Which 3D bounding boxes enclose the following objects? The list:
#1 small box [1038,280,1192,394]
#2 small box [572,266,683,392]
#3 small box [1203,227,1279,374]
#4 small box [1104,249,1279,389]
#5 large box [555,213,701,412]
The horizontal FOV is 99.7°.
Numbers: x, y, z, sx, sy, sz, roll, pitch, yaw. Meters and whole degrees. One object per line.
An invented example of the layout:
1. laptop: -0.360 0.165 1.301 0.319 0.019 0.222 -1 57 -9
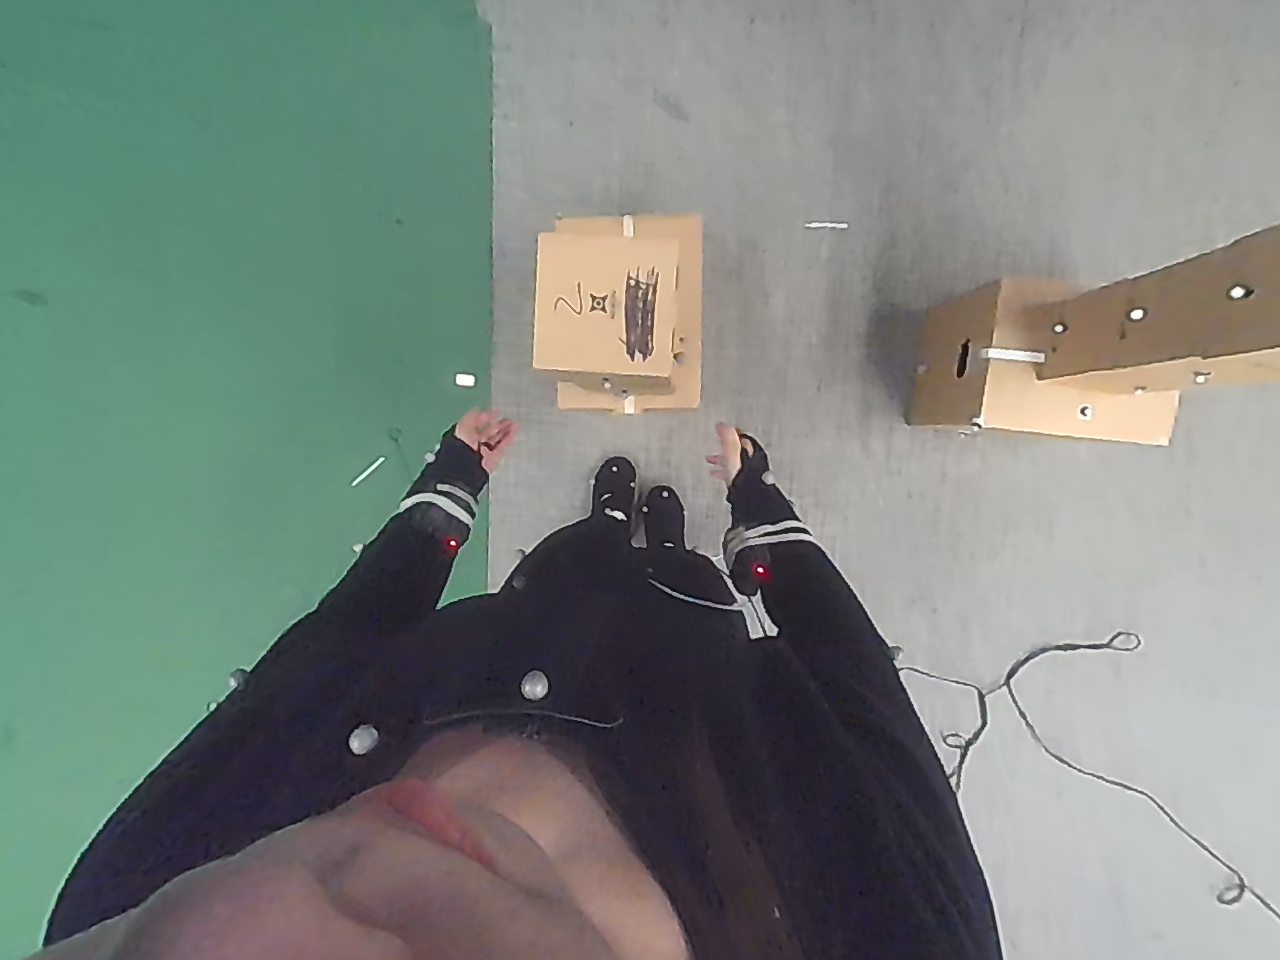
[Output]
1. small box: 0.920 -0.262 1.034 0.179 0.176 0.168 11 94 1
2. small box: -0.016 -0.242 0.903 0.168 0.176 0.179 3 95 1
3. small box: 0.911 -0.237 0.706 0.168 0.176 0.179 11 95 0
4. small box: 0.917 -0.246 0.870 0.179 0.176 0.168 12 94 1
5. large box: -0.020 -0.371 1.300 0.320 0.320 0.408 1 95 2
